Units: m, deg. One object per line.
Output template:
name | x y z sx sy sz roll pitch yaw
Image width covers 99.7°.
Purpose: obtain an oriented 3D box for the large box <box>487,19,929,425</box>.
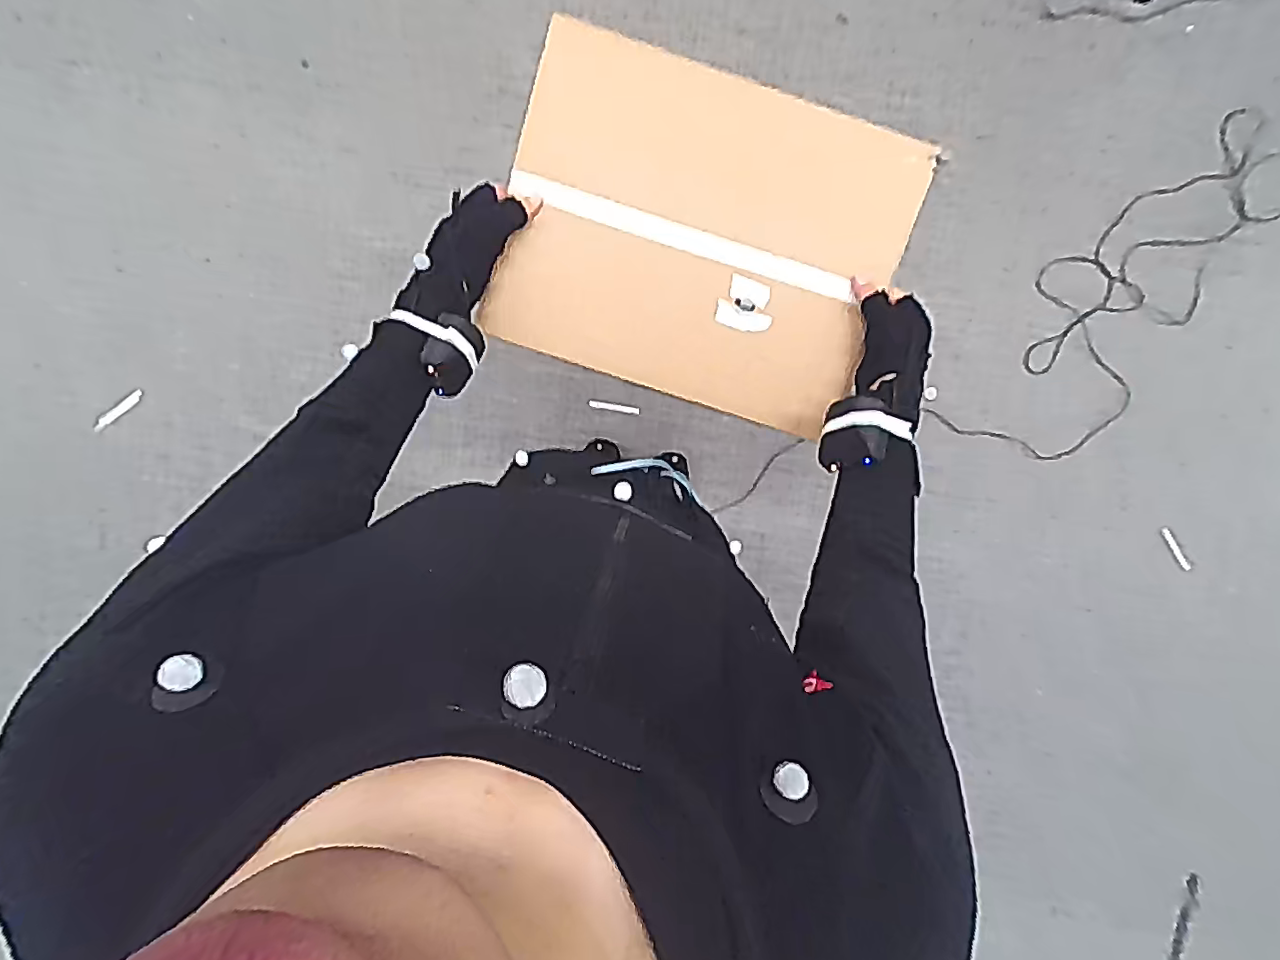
large box | 0.063 -0.285 0.713 0.408 0.320 0.320 17 101 -3
